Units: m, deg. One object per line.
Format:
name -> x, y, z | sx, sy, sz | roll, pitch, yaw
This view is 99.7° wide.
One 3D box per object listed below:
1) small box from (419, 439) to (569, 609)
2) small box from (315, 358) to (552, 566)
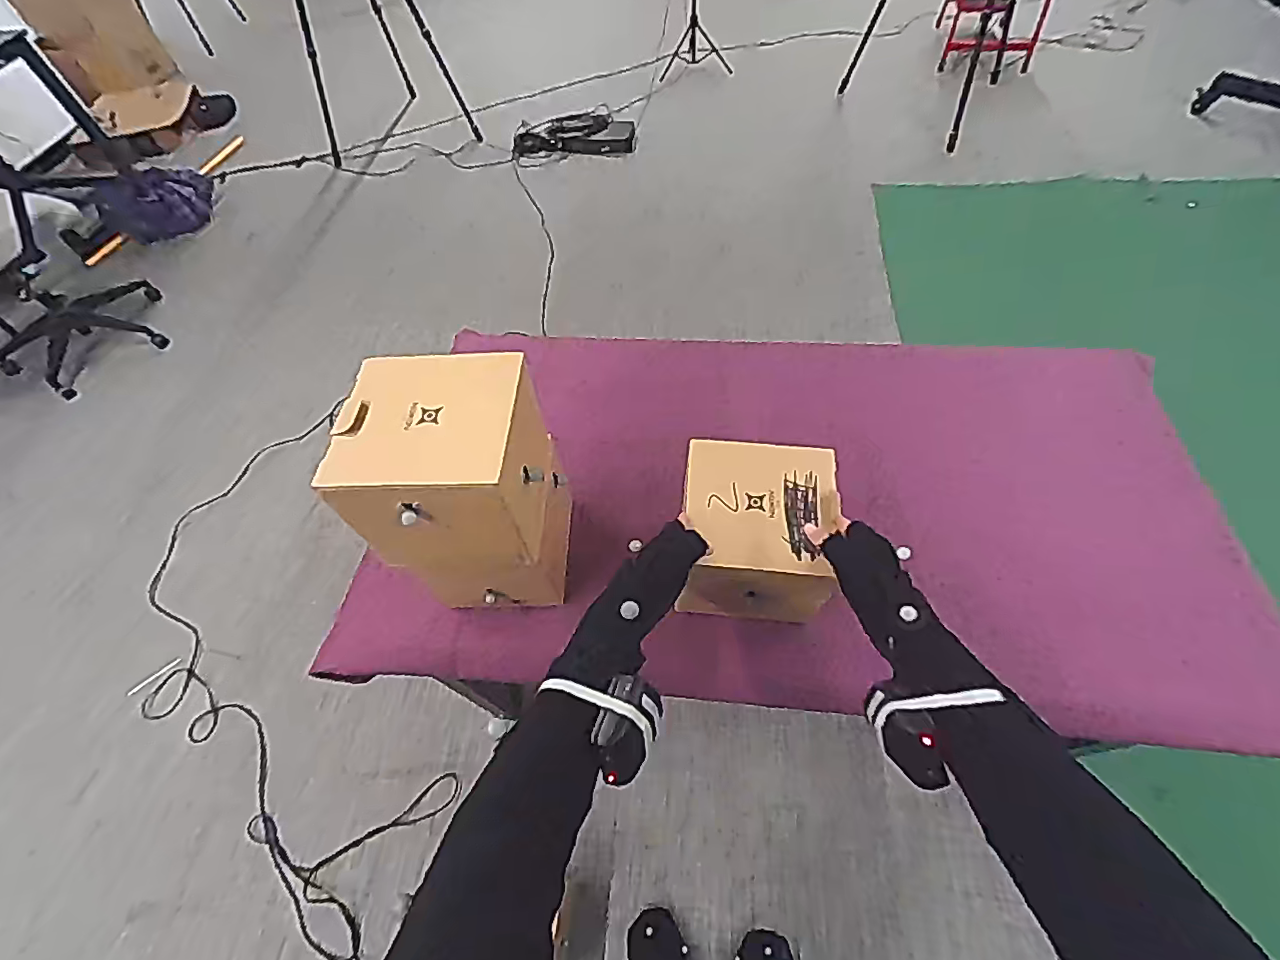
small box -> -0.195, 0.062, 0.738 | 0.168, 0.176, 0.179 | -1, 56, 3
small box -> -0.201, -0.014, 0.592 | 0.179, 0.176, 0.168 | 0, 56, 3
